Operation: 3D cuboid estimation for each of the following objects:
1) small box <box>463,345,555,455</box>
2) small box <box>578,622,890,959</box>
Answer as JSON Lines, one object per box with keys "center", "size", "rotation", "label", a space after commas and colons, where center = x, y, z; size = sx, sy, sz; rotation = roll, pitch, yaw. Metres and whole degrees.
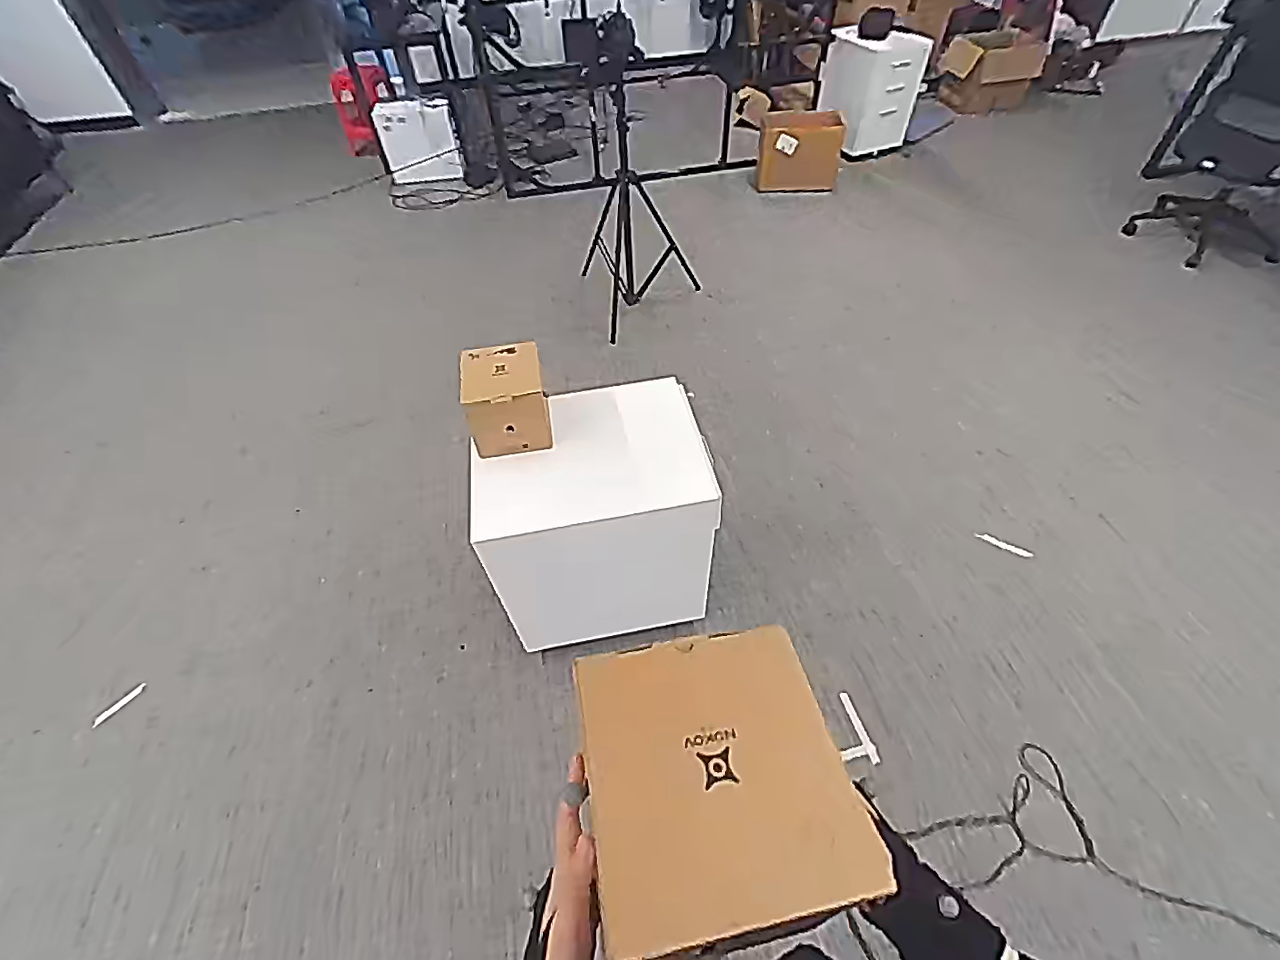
{"center": [-0.288, -0.171, 1.202], "size": [0.168, 0.176, 0.179], "rotation": [-9, 52, -6], "label": "small box"}
{"center": [0.048, 0.238, 0.411], "size": [0.168, 0.176, 0.179], "rotation": [-7, 44, -10], "label": "small box"}
